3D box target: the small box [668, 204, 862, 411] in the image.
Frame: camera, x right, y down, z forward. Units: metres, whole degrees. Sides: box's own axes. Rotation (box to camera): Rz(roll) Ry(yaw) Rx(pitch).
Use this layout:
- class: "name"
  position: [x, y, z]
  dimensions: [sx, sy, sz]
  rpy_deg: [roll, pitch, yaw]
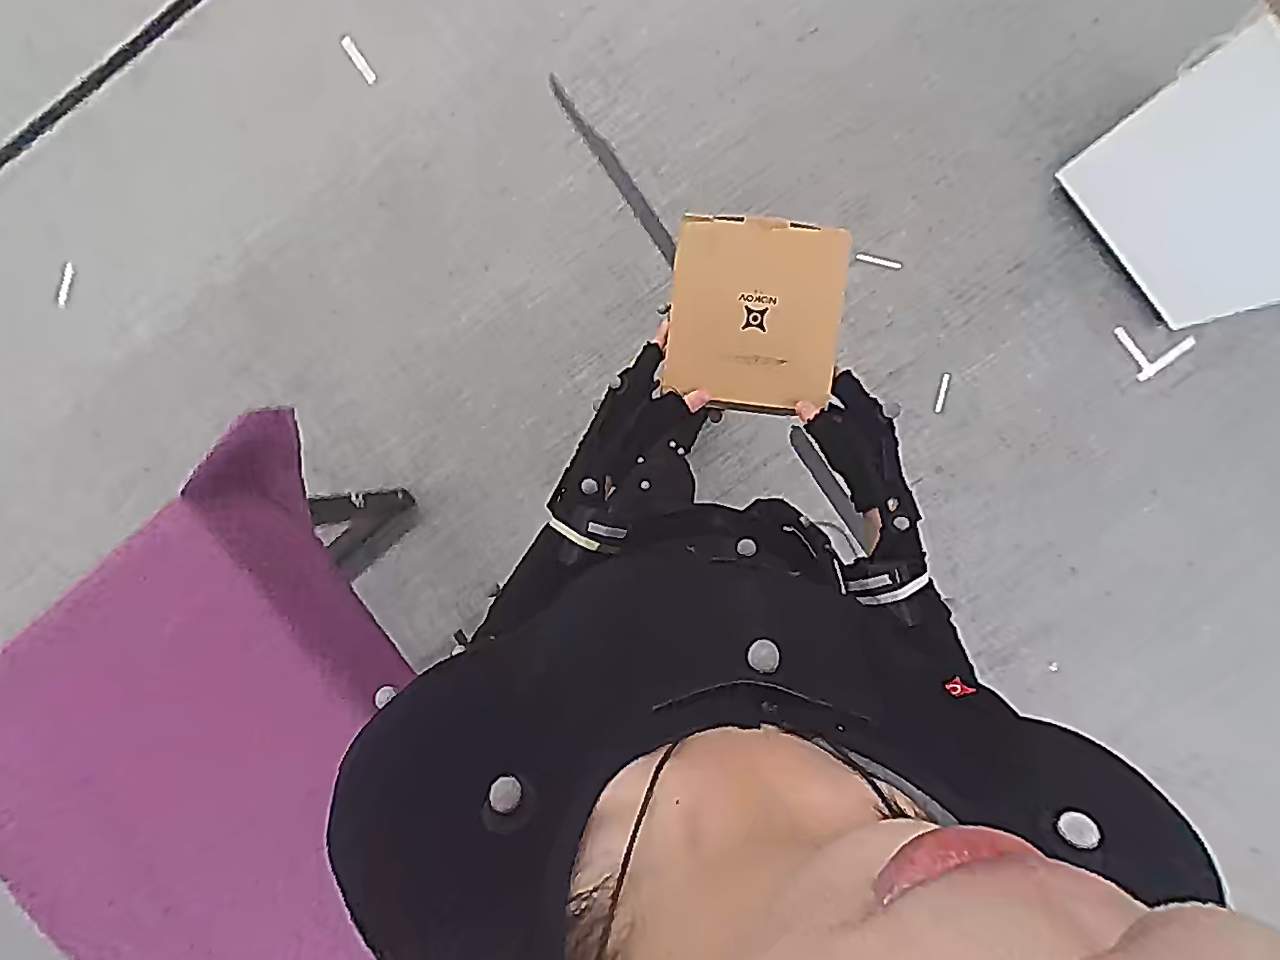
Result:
- class: "small box"
  position: [0.122, -0.175, 0.597]
  dimensions: [0.168, 0.176, 0.179]
  rpy_deg: [7, 96, 2]
